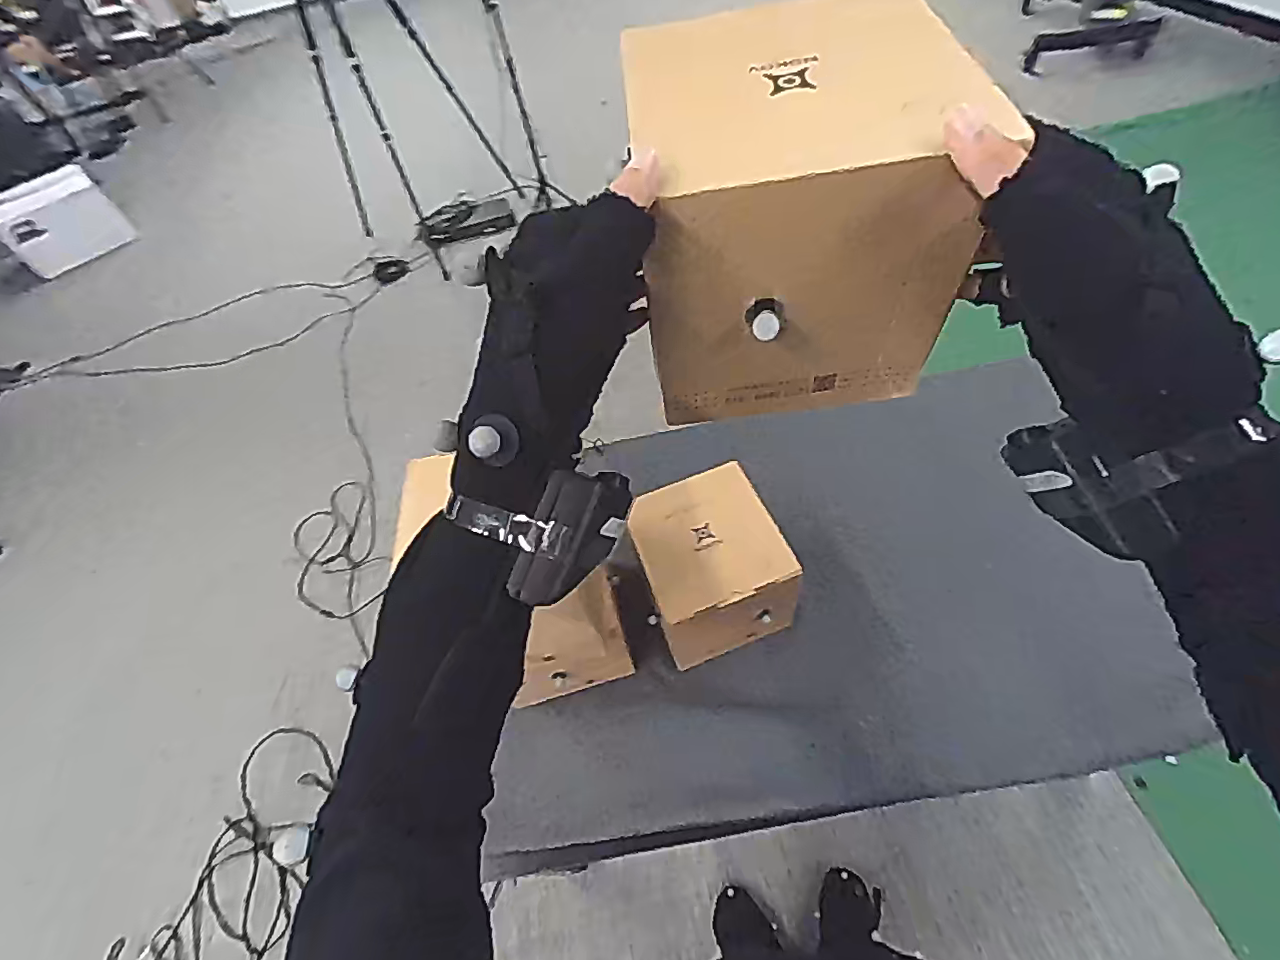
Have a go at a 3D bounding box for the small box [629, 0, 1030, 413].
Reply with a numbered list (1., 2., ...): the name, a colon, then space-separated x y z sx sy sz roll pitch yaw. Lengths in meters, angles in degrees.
1. small box: 0.089 -0.156 0.340 0.168 0.176 0.179 -7 57 5

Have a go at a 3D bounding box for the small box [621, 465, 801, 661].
1. small box: 0.088 0.117 0.707 0.168 0.176 0.179 -20 53 -7

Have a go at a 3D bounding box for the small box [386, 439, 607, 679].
1. small box: -0.131 0.085 0.559 0.168 0.176 0.179 -9 54 1
